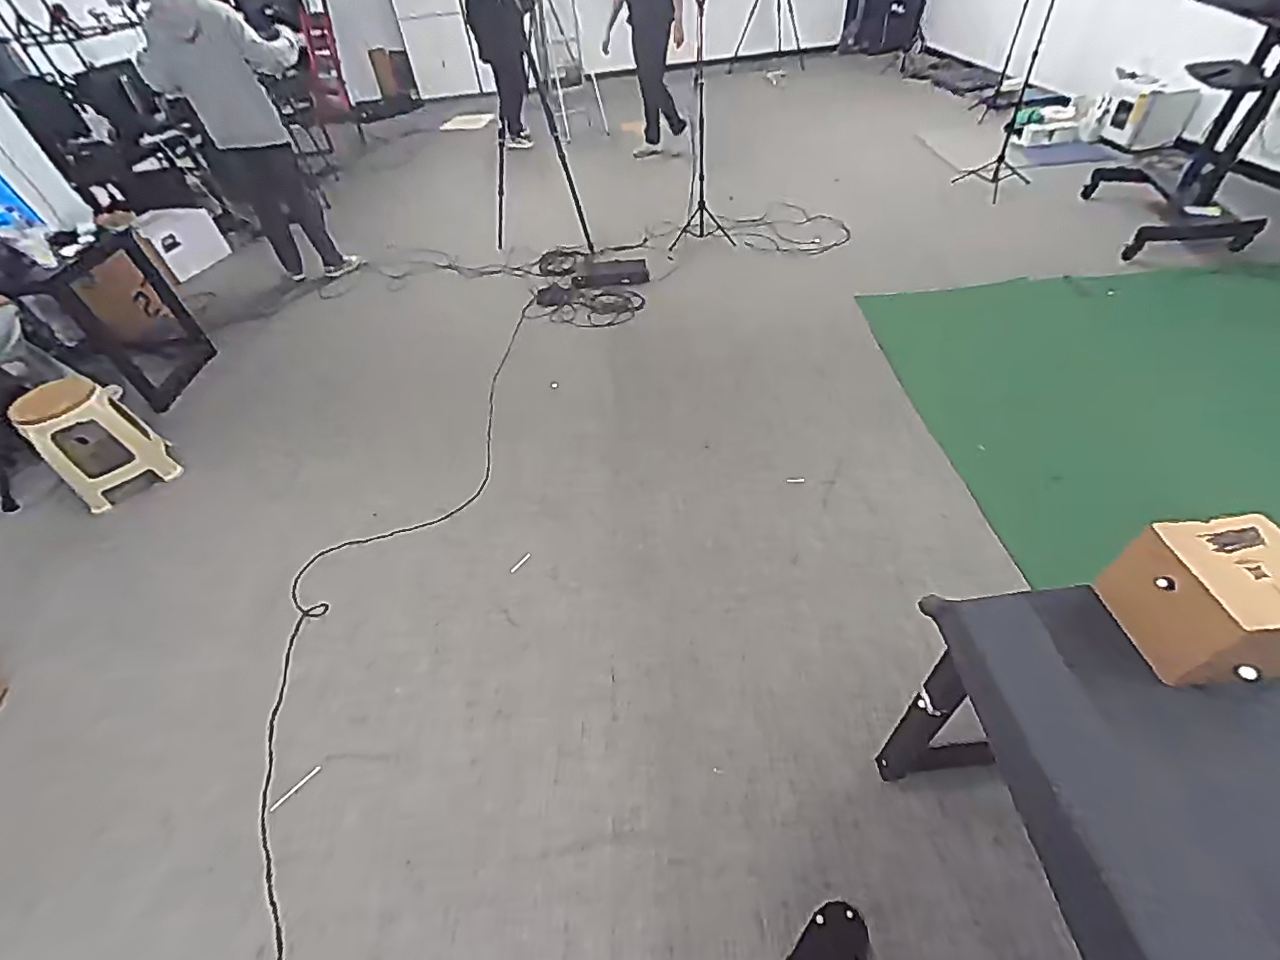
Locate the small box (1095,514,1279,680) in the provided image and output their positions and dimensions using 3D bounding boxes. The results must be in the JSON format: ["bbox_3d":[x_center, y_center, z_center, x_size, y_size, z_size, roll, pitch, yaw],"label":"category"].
[{"bbox_3d":[0.837,0.173,0.796,0.168,0.176,0.179,-5,48,1],"label":"small box"}]
